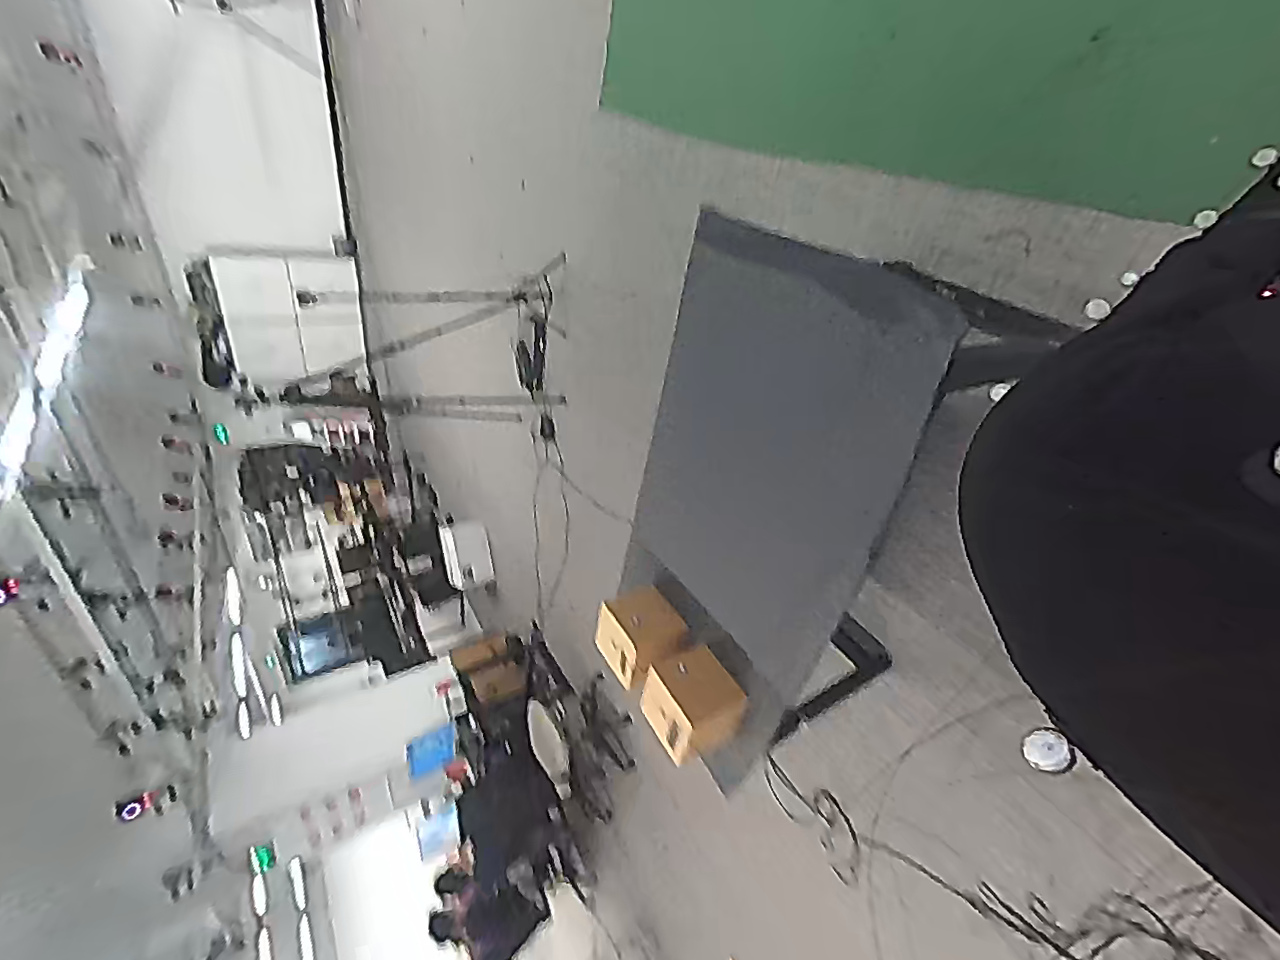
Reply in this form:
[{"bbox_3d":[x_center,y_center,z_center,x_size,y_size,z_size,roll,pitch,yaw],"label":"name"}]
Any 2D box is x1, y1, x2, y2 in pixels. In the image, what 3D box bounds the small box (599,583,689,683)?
[{"bbox_3d":[0.011,0.407,1.469,0.179,0.176,0.168,45,135,41],"label":"small box"}]
